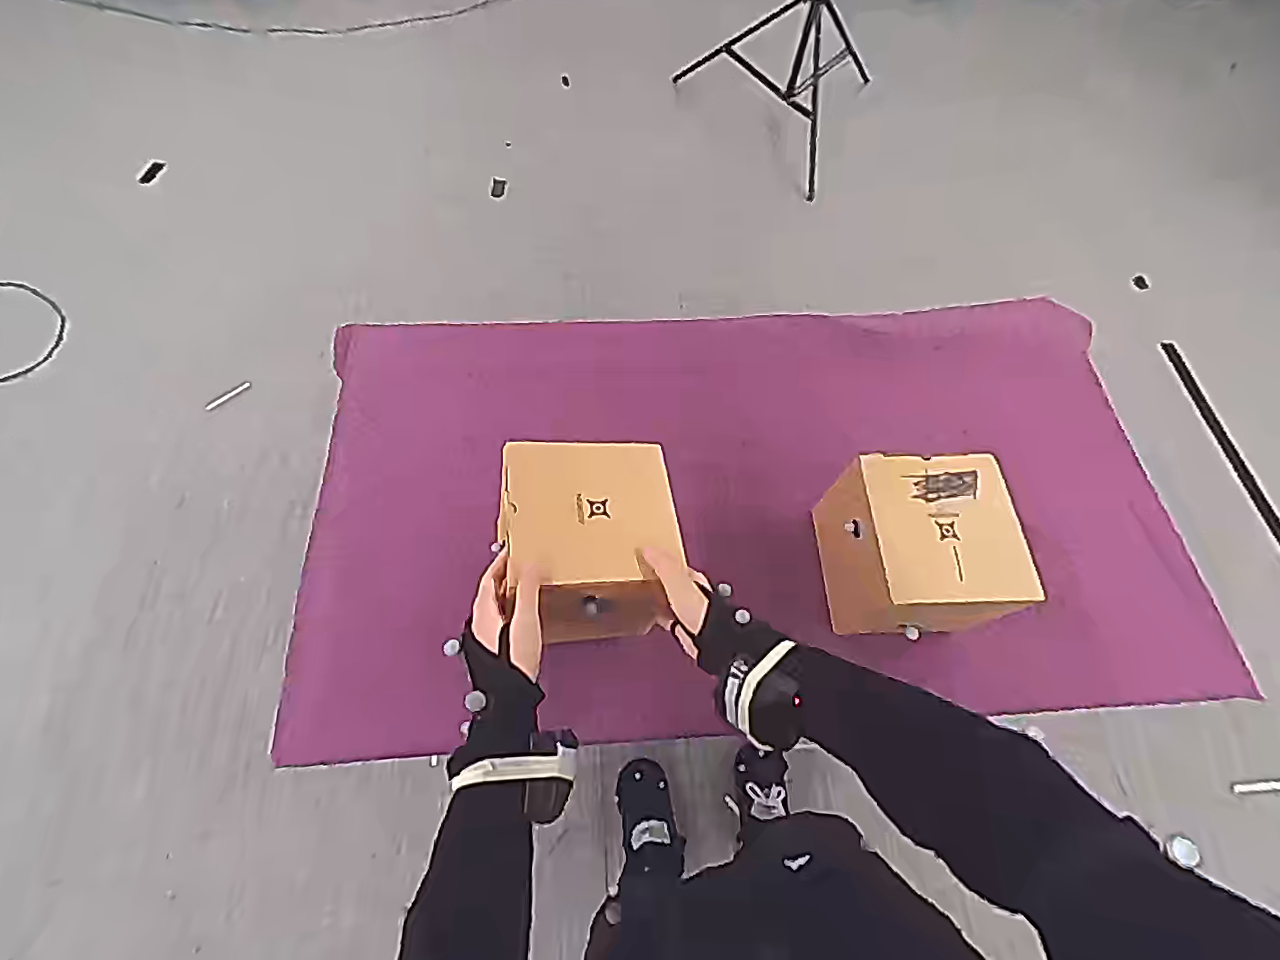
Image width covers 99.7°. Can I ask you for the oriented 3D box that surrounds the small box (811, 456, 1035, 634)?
[{"bbox_3d":[0.326,0.085,0.669,0.168,0.176,0.179,-1,64,-3],"label":"small box"}]

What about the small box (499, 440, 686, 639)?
[{"bbox_3d":[-0.067,0.072,0.614,0.179,0.176,0.168,0,57,-16],"label":"small box"}]
